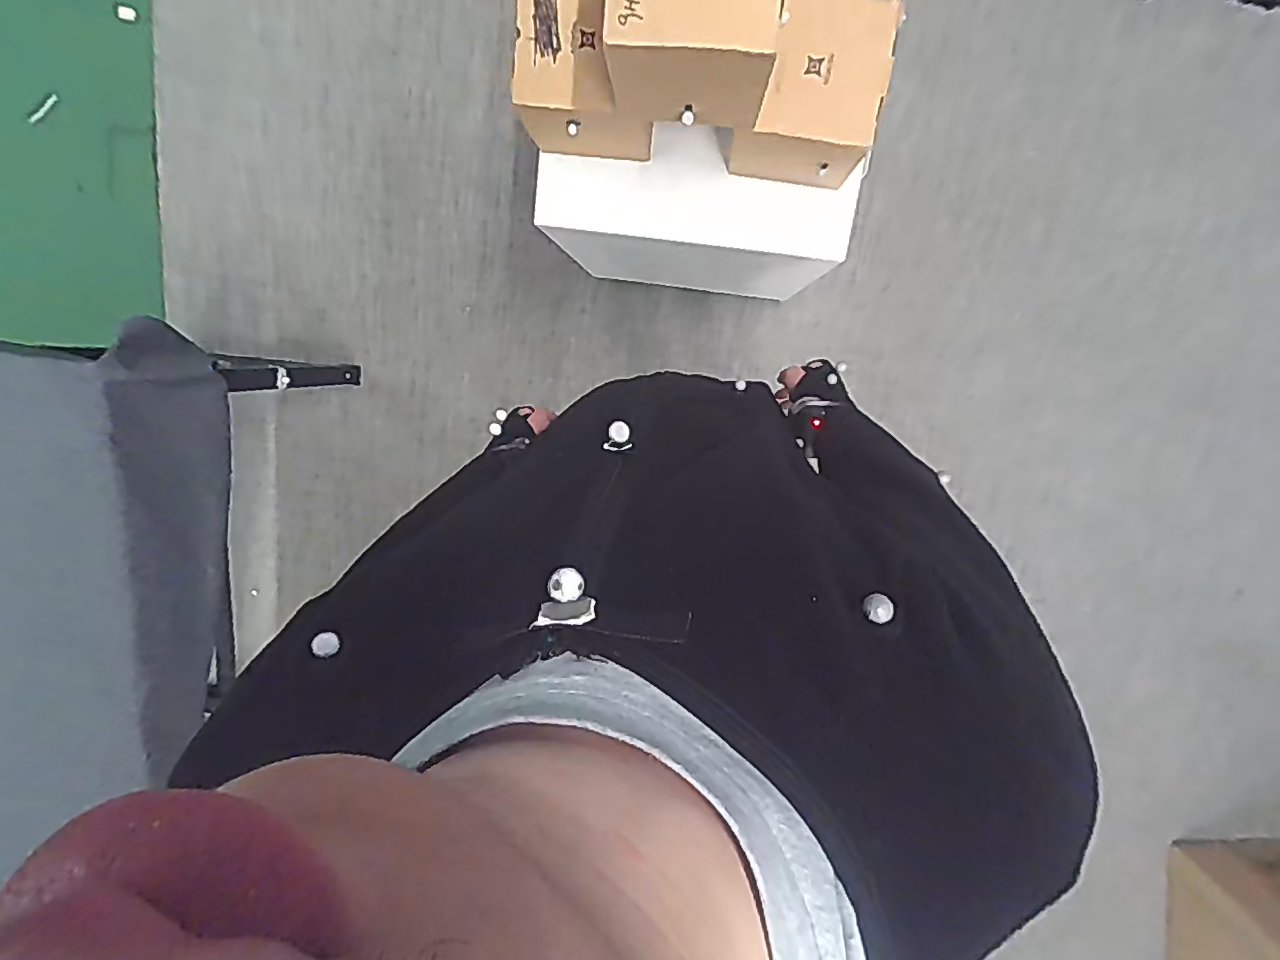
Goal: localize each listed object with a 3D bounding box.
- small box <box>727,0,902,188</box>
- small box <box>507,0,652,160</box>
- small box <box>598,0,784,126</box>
[{"bbox_3d":[0.222,-0.519,0.740,0.179,0.176,0.168,10,102,5],"label":"small box"},{"bbox_3d":[-0.071,-0.569,0.755,0.179,0.176,0.168,7,103,2],"label":"small box"},{"bbox_3d":[0.058,-0.513,0.588,0.179,0.176,0.168,6,102,3],"label":"small box"}]
